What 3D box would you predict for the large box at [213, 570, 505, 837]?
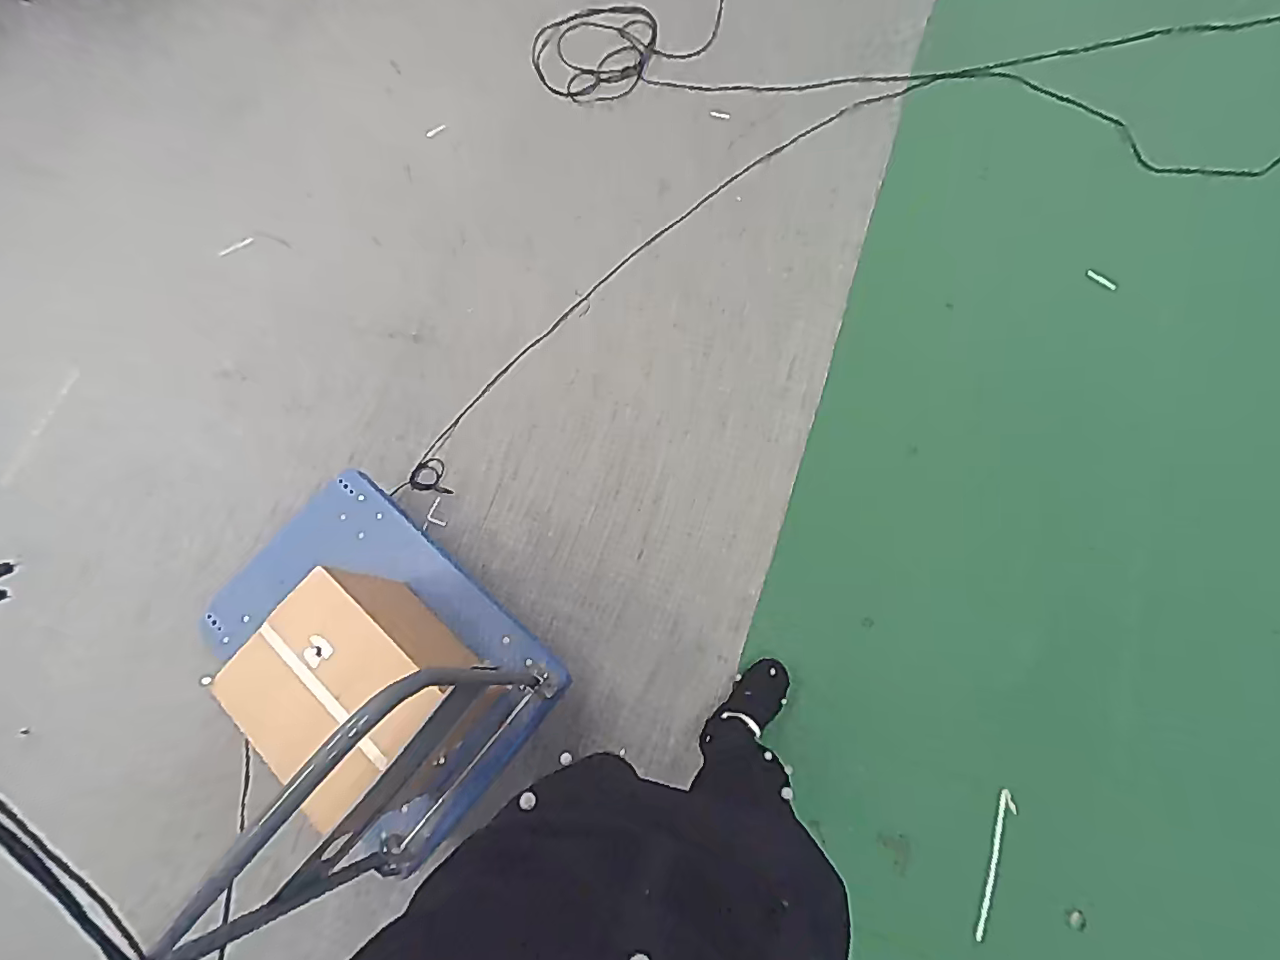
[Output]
[{"bbox_3d":[-0.578,0.453,1.173,0.408,0.320,0.320,37,80,17],"label":"large box"}]
